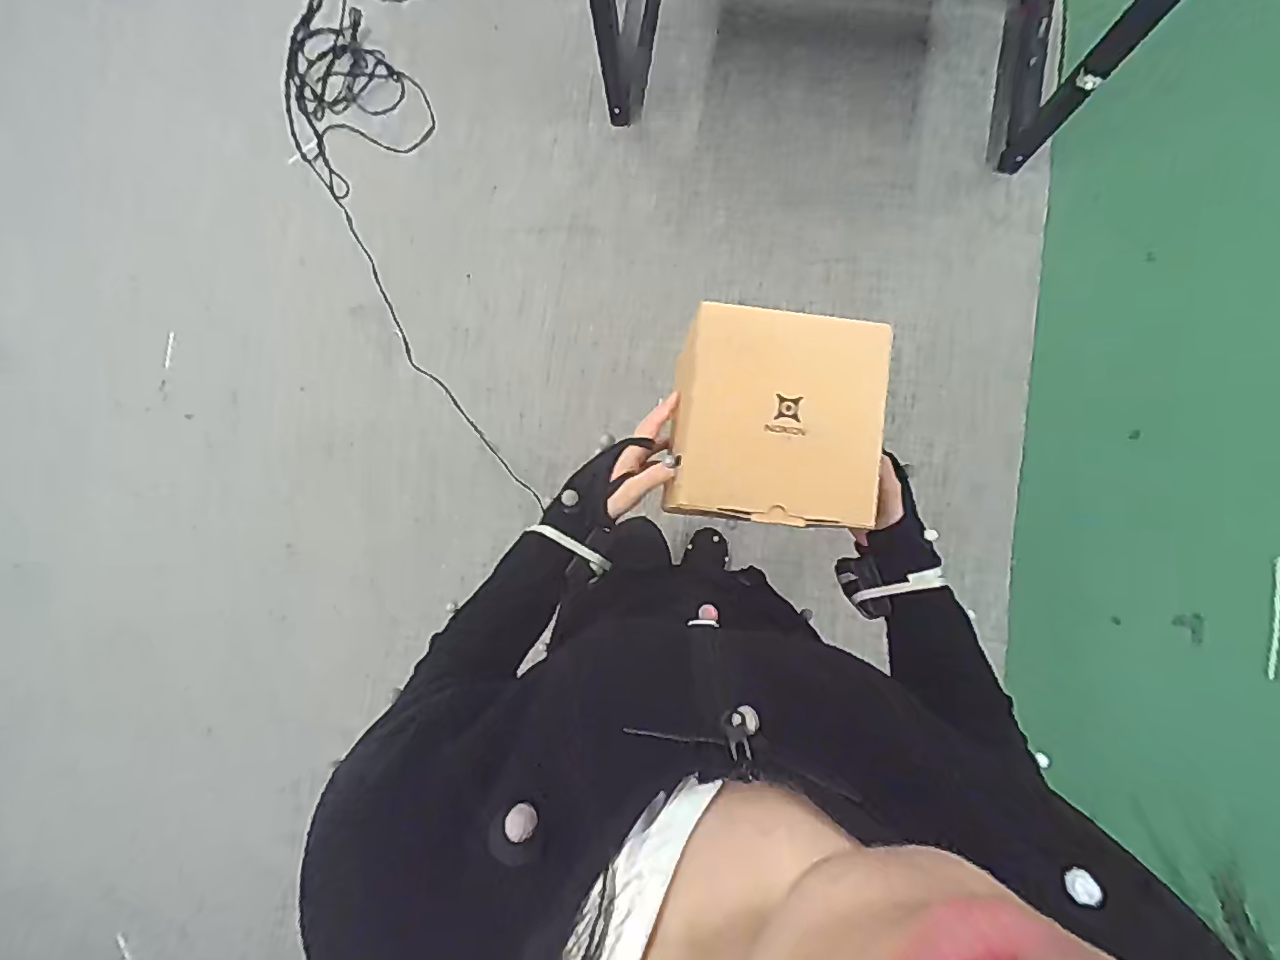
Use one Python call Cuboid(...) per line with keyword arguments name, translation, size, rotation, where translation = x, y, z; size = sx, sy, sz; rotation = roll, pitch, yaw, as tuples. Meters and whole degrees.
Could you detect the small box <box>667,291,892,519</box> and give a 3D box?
Cuboid(name="small box", translation=(0.119, -0.057, 0.521), size=(0.168, 0.176, 0.179), rotation=(5, 86, -2))
